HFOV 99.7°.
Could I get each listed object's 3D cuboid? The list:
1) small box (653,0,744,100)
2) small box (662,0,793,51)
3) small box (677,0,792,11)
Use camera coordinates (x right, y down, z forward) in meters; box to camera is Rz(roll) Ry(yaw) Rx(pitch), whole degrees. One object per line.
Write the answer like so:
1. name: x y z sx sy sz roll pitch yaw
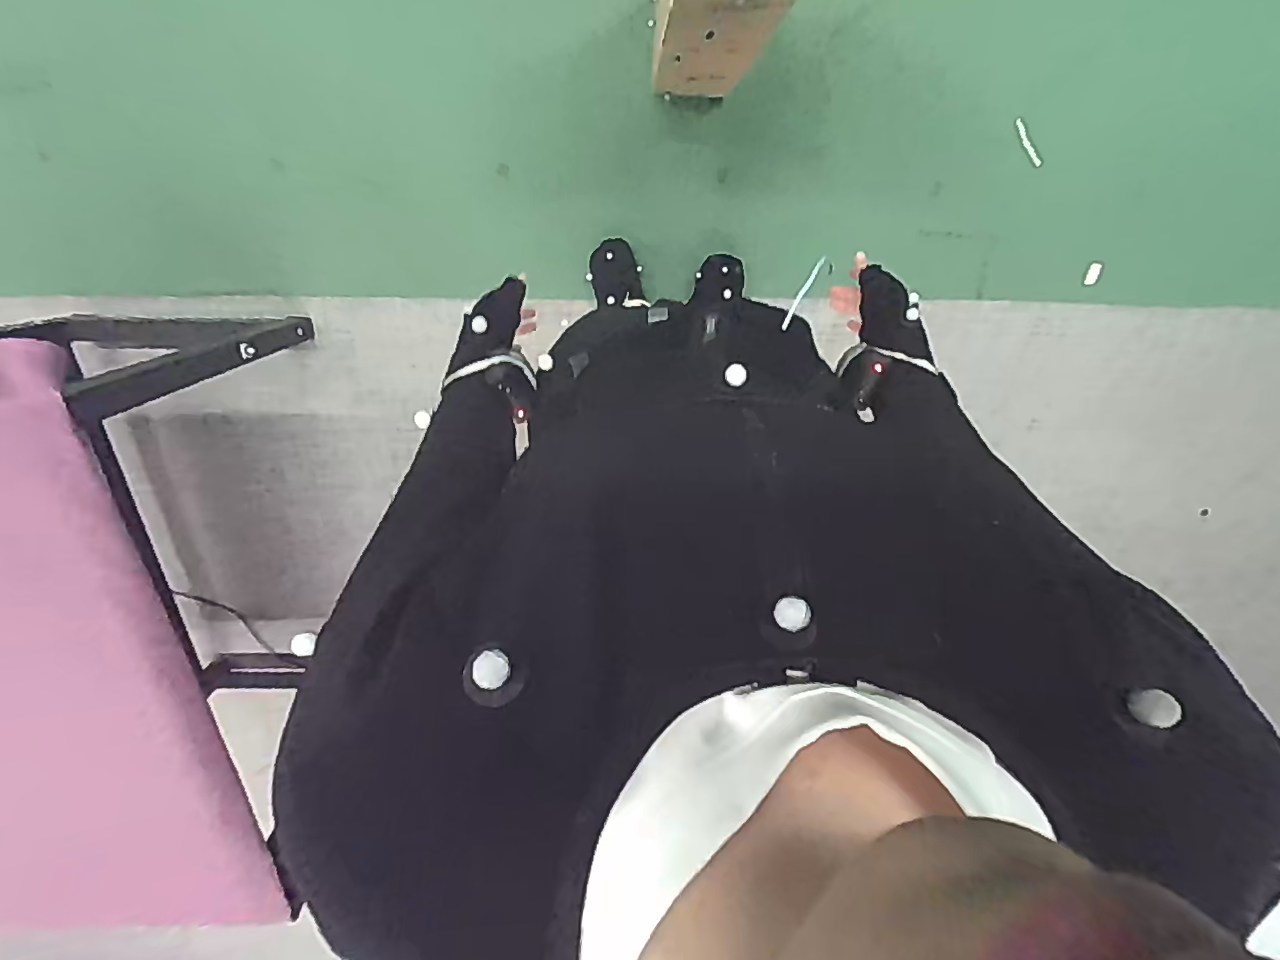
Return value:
1. small box: 0.114 -0.869 1.063 0.168 0.176 0.179 1 114 -2
2. small box: 0.119 -0.739 0.762 0.168 0.176 0.179 -2 115 -1
3. small box: 0.123 -0.674 0.611 0.168 0.176 0.179 -3 115 -1
